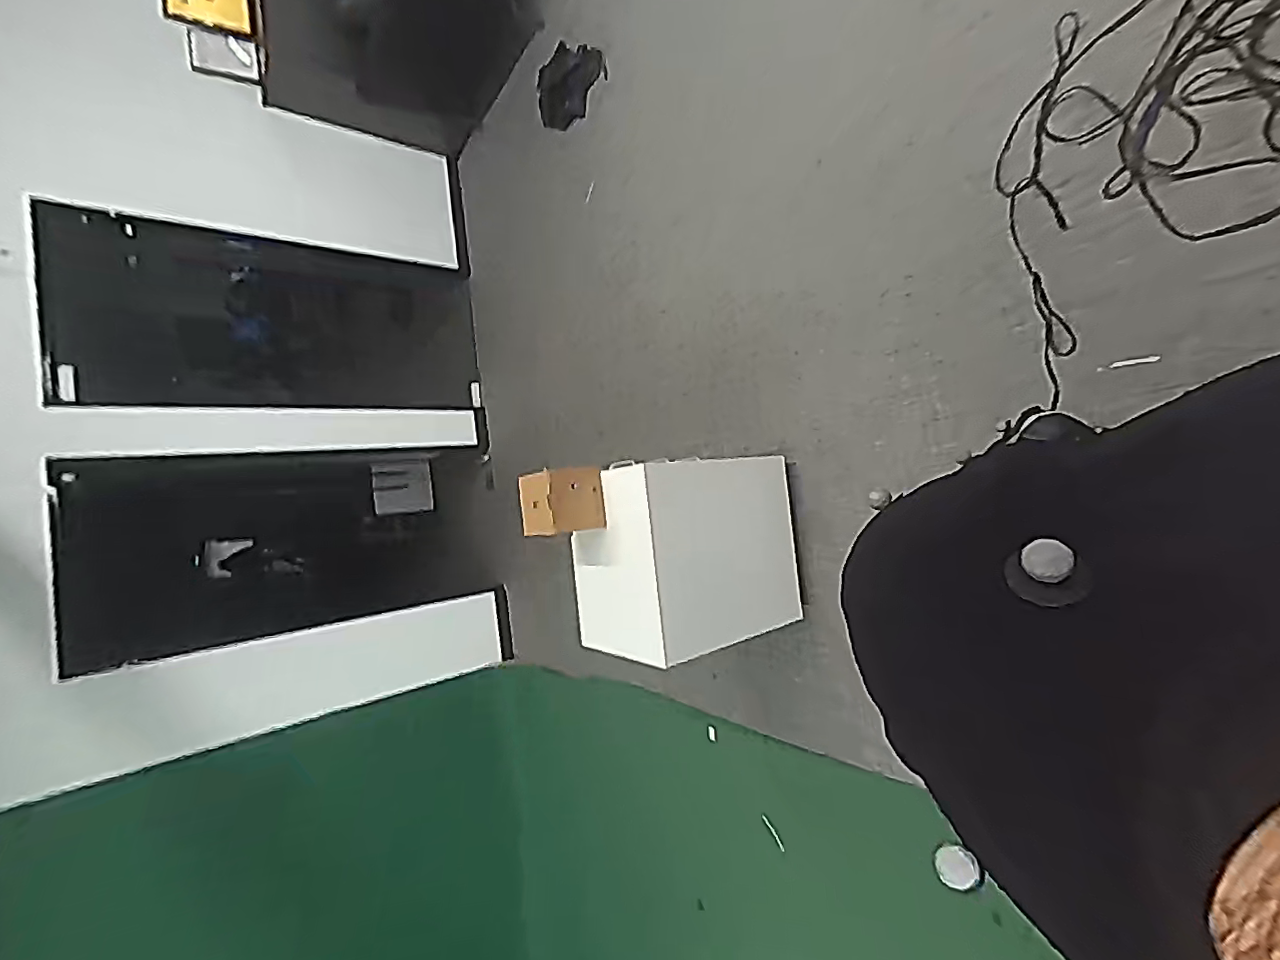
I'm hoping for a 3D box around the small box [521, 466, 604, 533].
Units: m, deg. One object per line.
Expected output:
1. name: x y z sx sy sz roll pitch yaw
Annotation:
1. small box: -0.209 0.055 1.492 0.179 0.176 0.168 -10 85 53
